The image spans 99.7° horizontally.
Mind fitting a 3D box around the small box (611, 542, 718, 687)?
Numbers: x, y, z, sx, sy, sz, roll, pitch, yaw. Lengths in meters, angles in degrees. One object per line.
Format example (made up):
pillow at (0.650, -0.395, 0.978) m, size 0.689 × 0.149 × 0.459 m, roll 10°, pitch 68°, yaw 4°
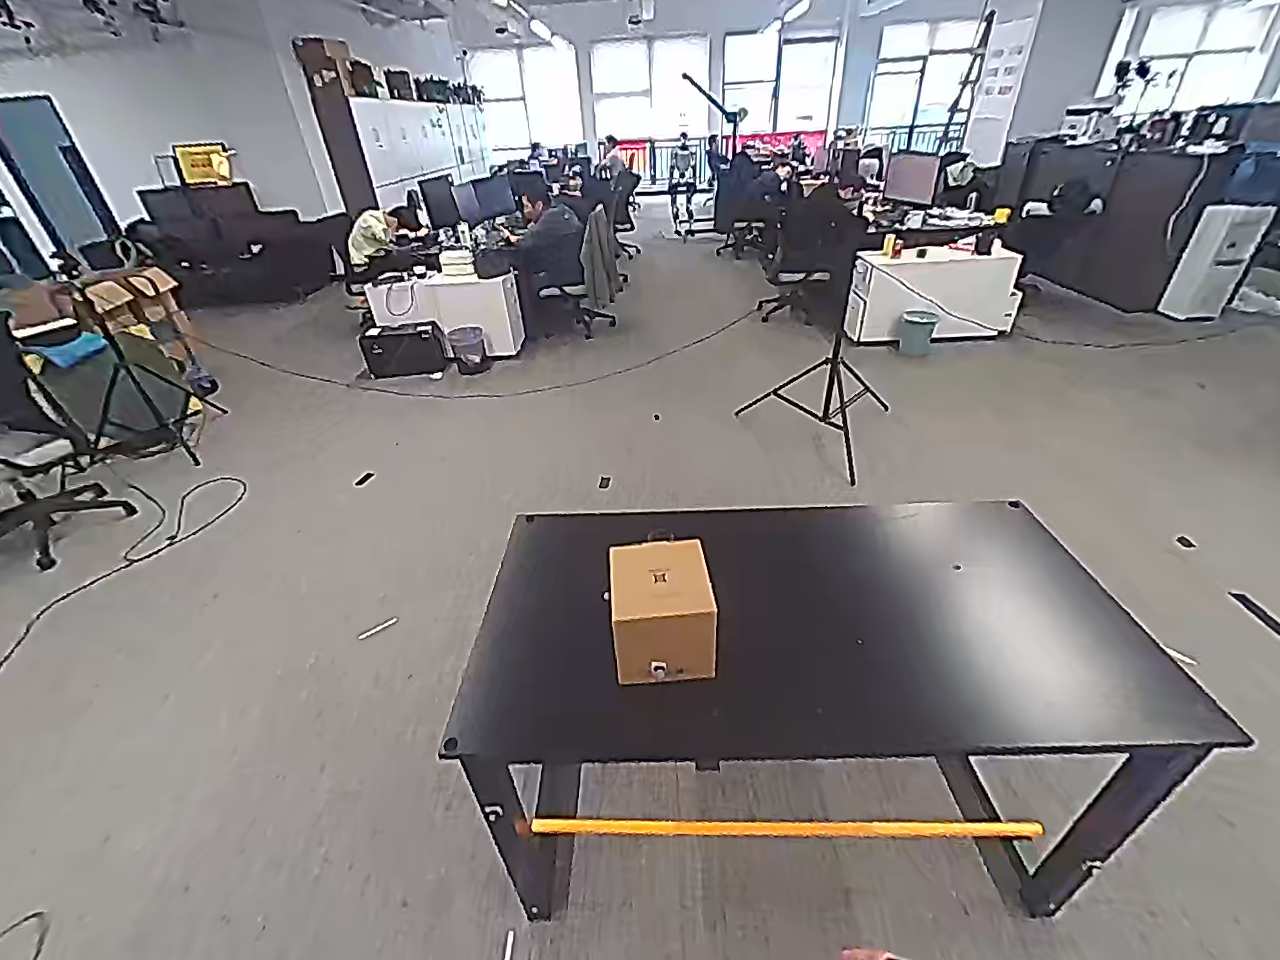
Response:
small box at (0.038, 0.233, 0.947) m, size 0.168 × 0.176 × 0.179 m, roll -6°, pitch 35°, yaw -2°
